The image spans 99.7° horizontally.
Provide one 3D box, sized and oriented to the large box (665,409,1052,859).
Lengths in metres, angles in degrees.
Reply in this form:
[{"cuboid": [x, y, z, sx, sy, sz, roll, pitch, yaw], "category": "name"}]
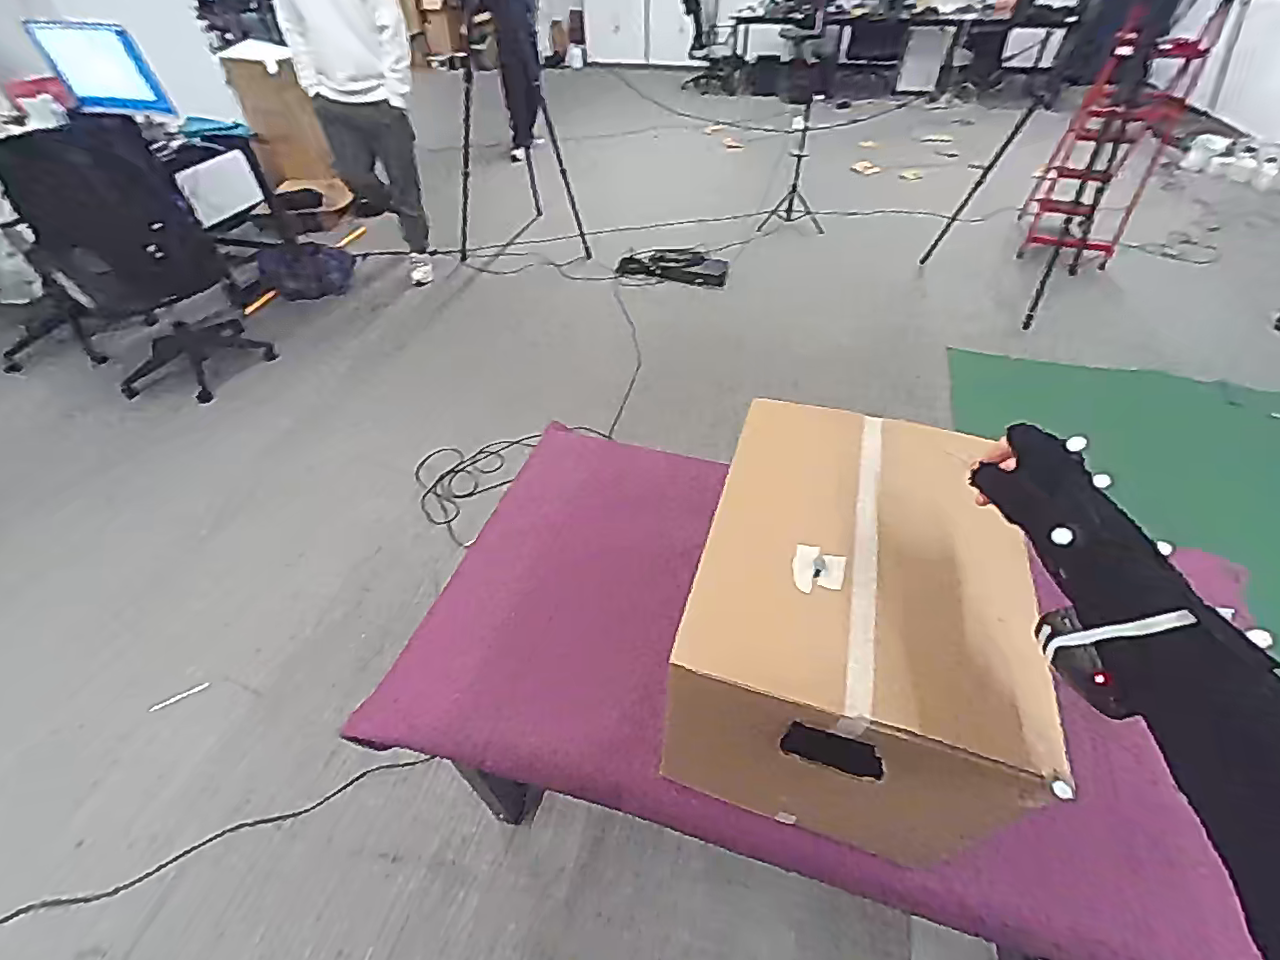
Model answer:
[{"cuboid": [0.236, 0.174, 0.688, 0.320, 0.320, 0.408, 13, 47, 14], "category": "large box"}]
